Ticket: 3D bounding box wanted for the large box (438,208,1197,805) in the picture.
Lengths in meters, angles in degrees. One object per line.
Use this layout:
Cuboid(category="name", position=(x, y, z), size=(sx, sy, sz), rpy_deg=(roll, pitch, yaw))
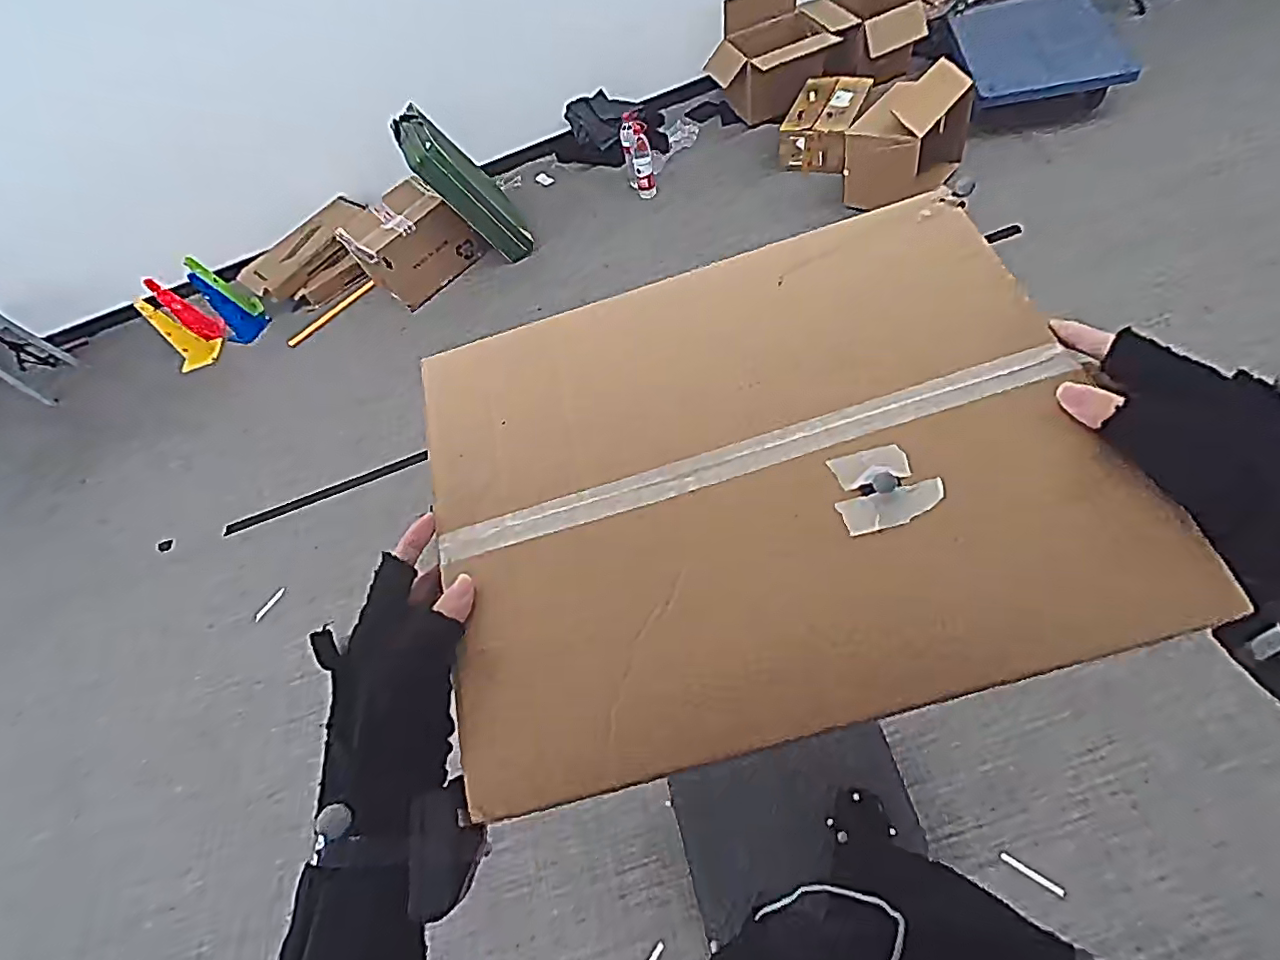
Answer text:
Cuboid(category="large box", position=(0.092, 0.044, 0.487), size=(0.408, 0.320, 0.320), rpy_deg=(-17, 67, 3))
